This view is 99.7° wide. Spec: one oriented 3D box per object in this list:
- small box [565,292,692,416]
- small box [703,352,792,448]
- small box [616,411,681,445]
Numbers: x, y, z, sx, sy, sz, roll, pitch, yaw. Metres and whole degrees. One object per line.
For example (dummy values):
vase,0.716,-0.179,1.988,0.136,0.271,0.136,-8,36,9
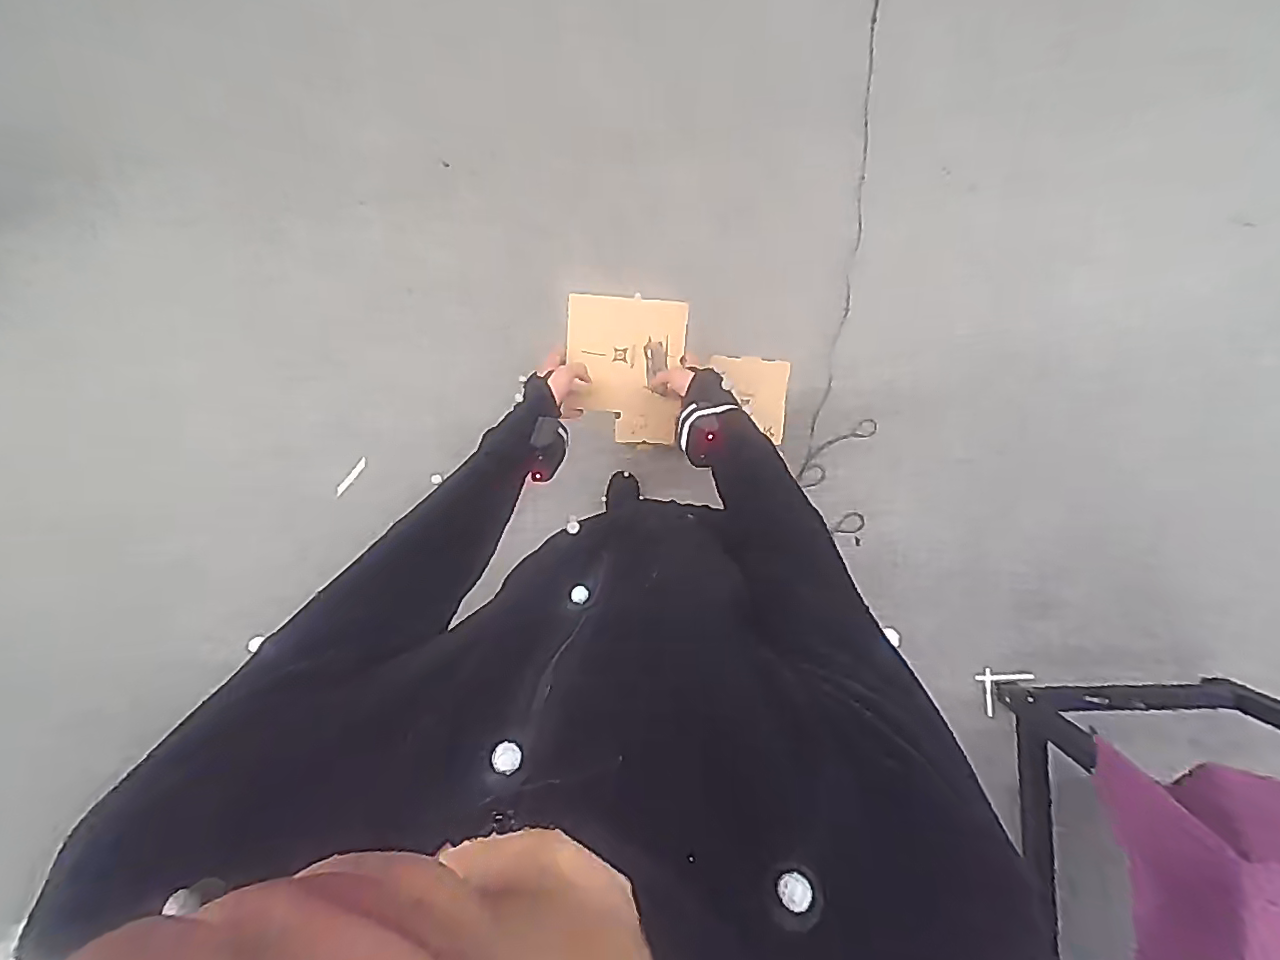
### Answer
small box,-0.020,-0.197,0.862,0.179,0.176,0.168,4,100,-1
small box,0.231,-0.170,1.195,0.168,0.176,0.179,7,91,7
small box,0.029,-0.193,1.547,0.168,0.176,0.179,3,92,8
